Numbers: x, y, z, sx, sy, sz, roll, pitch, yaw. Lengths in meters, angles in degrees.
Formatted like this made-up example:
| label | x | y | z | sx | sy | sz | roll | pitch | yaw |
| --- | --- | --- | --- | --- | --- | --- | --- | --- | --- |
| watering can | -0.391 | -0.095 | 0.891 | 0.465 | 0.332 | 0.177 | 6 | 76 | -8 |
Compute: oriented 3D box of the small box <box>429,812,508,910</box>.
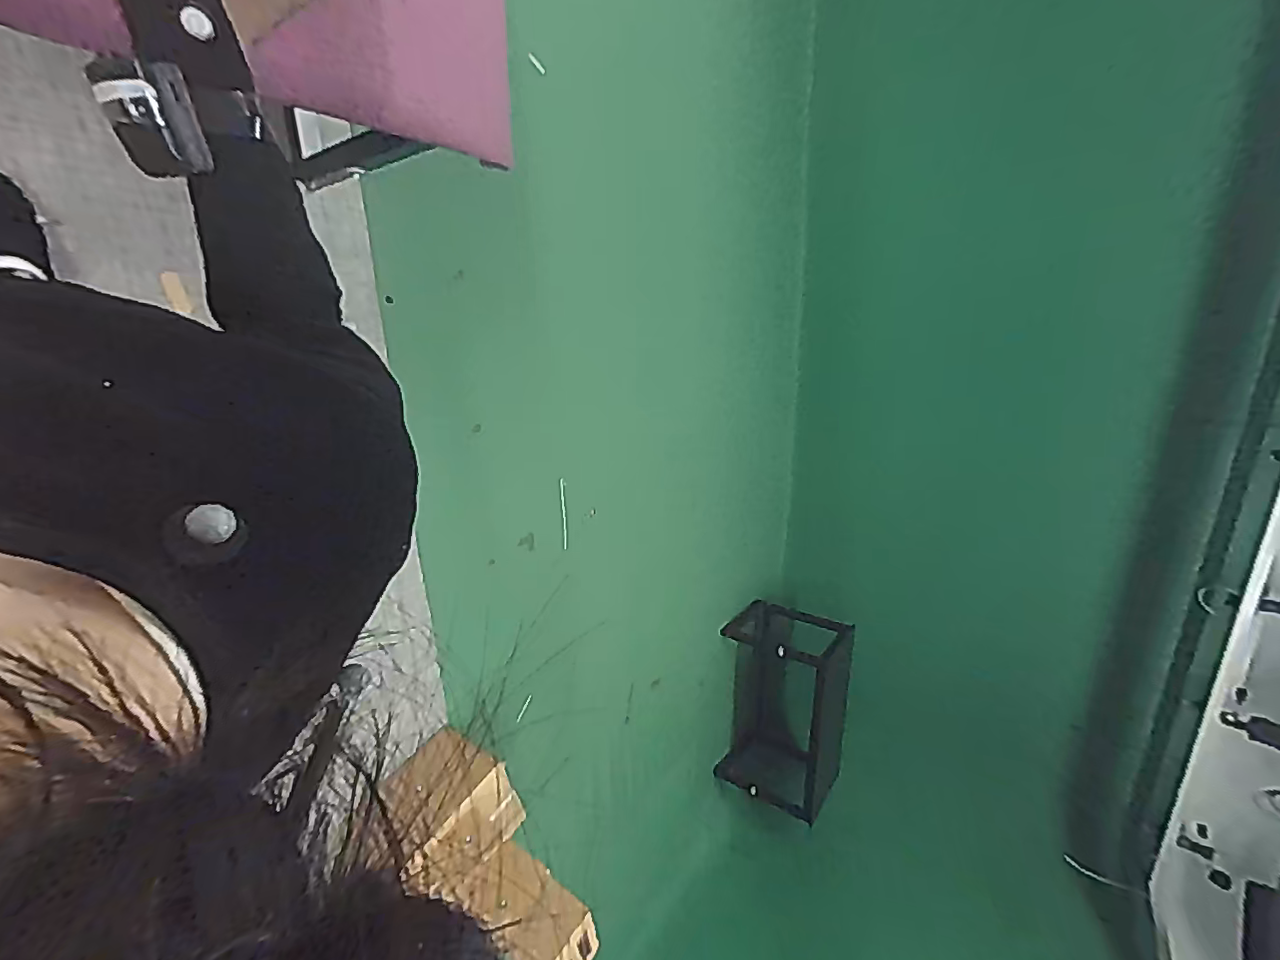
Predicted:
| label | x | y | z | sx | sy | sz | roll | pitch | yaw |
| --- | --- | --- | --- | --- | --- | --- | --- | --- | --- |
| small box | -0.495 | 1.129 | 1.603 | 0.168 | 0.176 | 0.179 | -34 | 124 | -46 |

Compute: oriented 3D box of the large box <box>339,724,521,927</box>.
| label | x | y | z | sx | sy | sz | roll | pitch | yaw |
| --- | --- | --- | --- | --- | --- | --- | --- | --- | --- |
| large box | -0.674 | 1.109 | 1.775 | 0.408 | 0.320 | 0.320 | -41 | 131 | -44 |

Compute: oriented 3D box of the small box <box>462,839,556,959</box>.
| label | x | y | z | sx | sy | sz | roll | pitch | yaw |
| --- | --- | --- | --- | --- | --- | --- | --- | --- | --- |
| small box | -0.365 | 1.160 | 1.511 | 0.179 | 0.176 | 0.168 | -32 | 123 | -46 |
